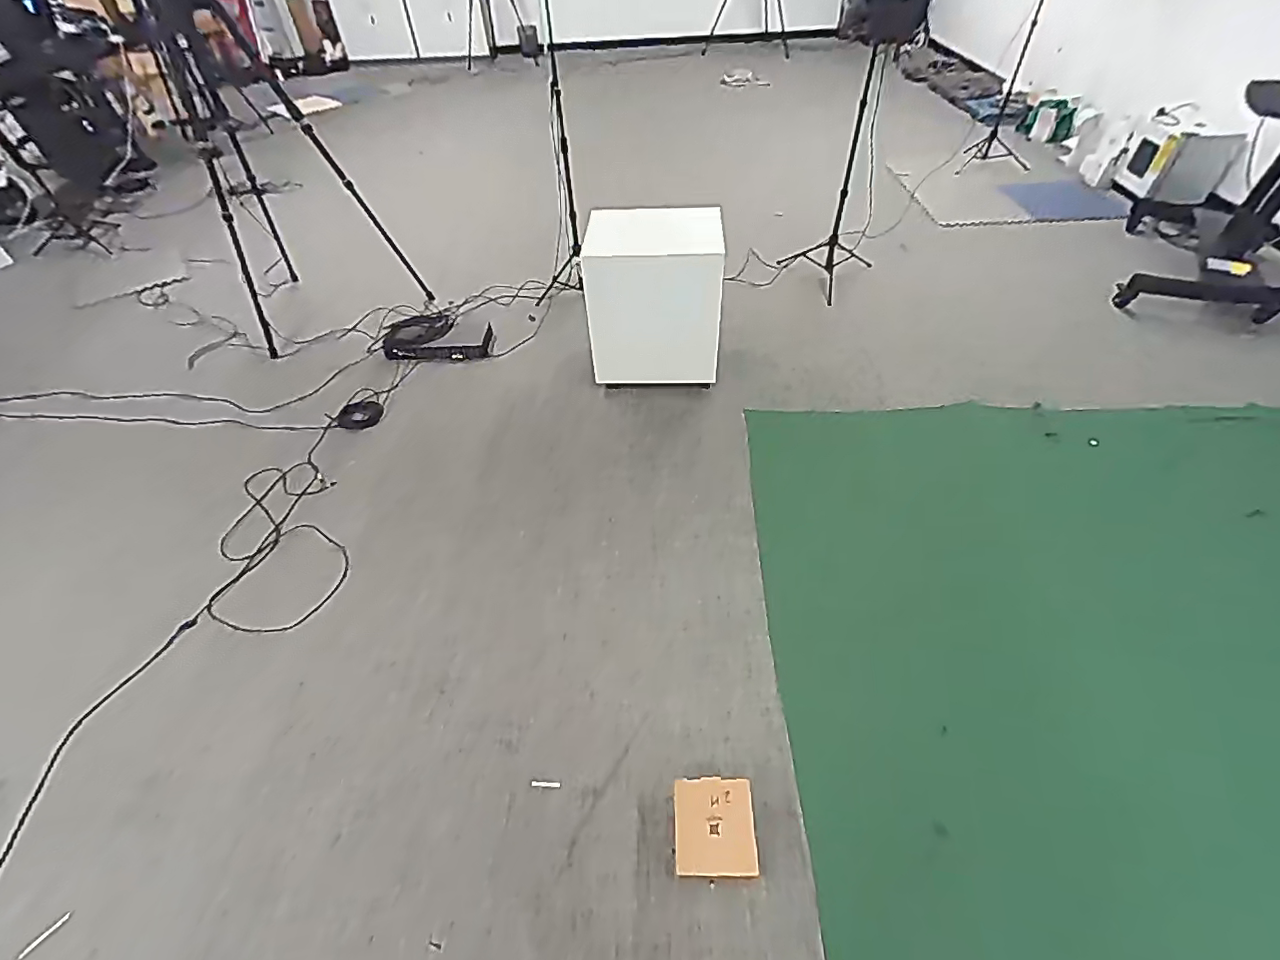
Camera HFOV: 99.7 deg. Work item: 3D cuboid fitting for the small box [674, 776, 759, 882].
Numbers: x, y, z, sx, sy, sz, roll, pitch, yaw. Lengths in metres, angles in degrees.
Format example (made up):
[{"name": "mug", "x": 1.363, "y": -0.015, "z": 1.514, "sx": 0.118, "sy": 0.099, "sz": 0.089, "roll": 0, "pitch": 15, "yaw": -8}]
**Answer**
[{"name": "small box", "x": 0.159, "y": 0.761, "z": 1.176, "sx": 0.168, "sy": 0.176, "sz": 0.179, "roll": 0, "pitch": 49, "yaw": 2}]
